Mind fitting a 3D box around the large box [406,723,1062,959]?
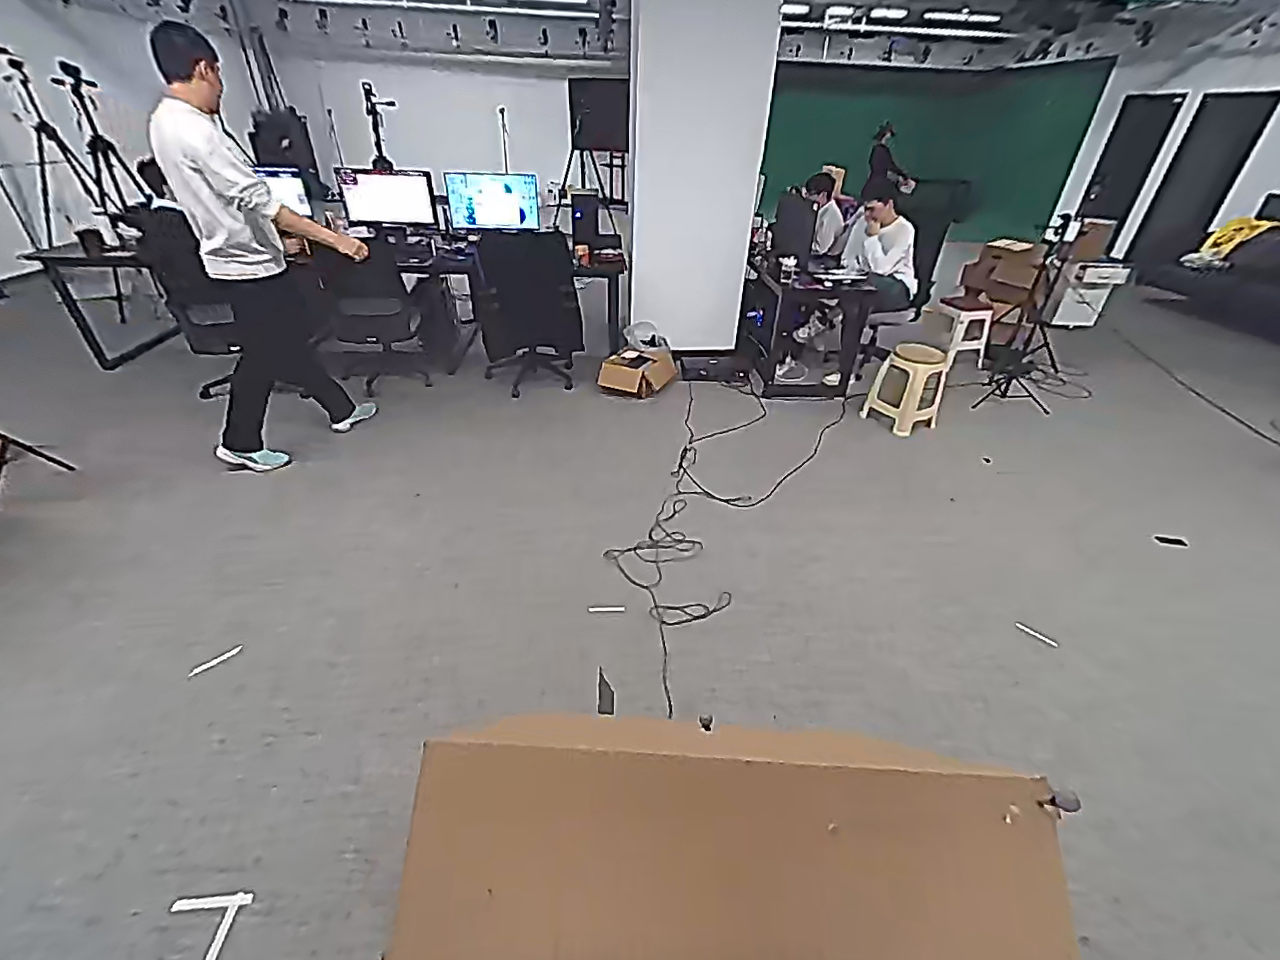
[{"bbox_3d":[0.053,0.386,0.452,0.408,0.320,0.320,2,71,1],"label":"large box"}]
